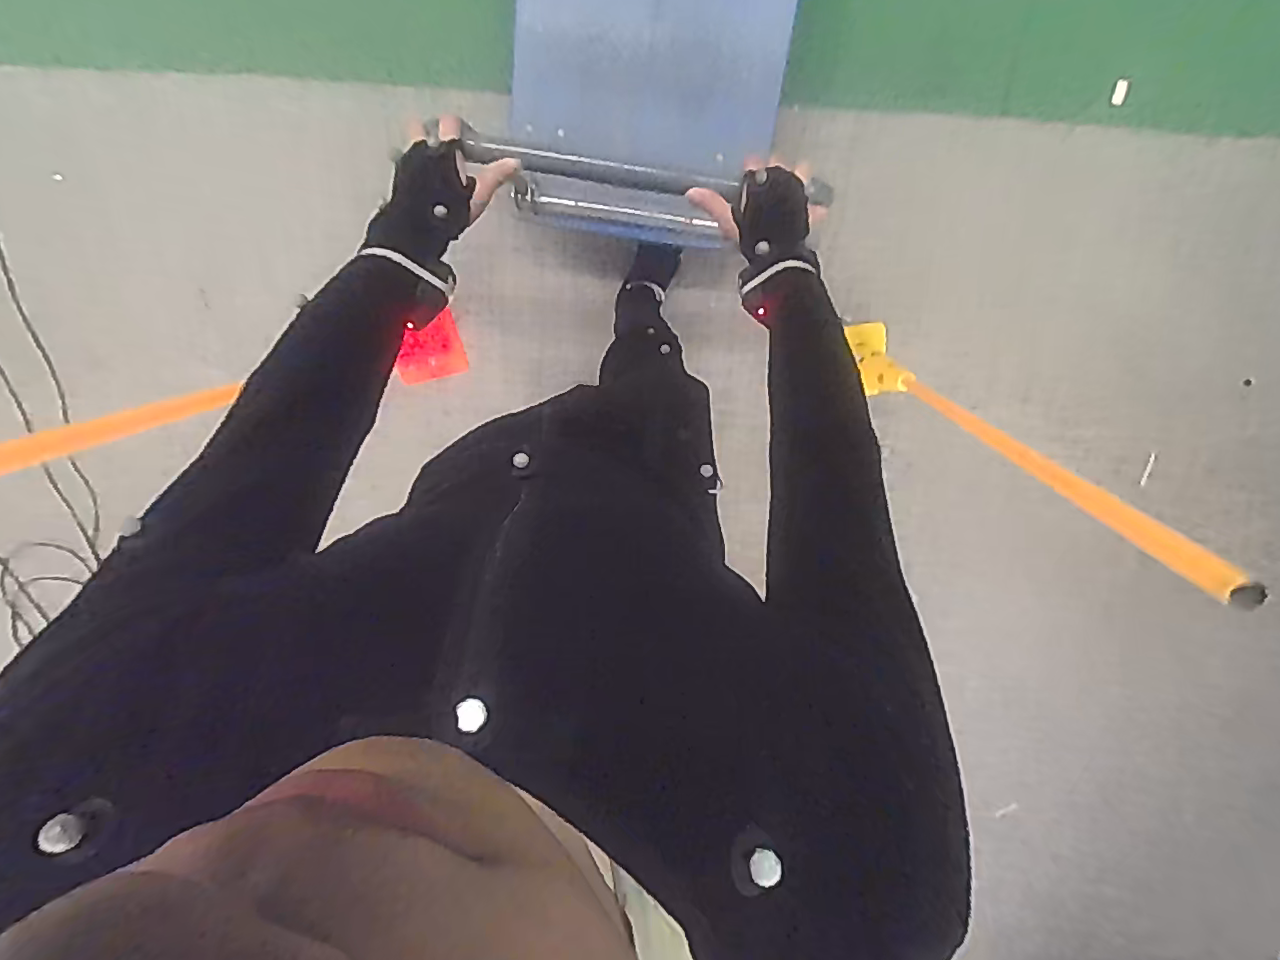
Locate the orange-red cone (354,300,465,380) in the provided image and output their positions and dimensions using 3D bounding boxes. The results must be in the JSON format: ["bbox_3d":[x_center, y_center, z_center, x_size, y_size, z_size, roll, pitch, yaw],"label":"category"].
[{"bbox_3d":[-0.599,-0.327,1.331,0.199,0.360,0.198,-10,109,5],"label":"orange-red cone"}]
